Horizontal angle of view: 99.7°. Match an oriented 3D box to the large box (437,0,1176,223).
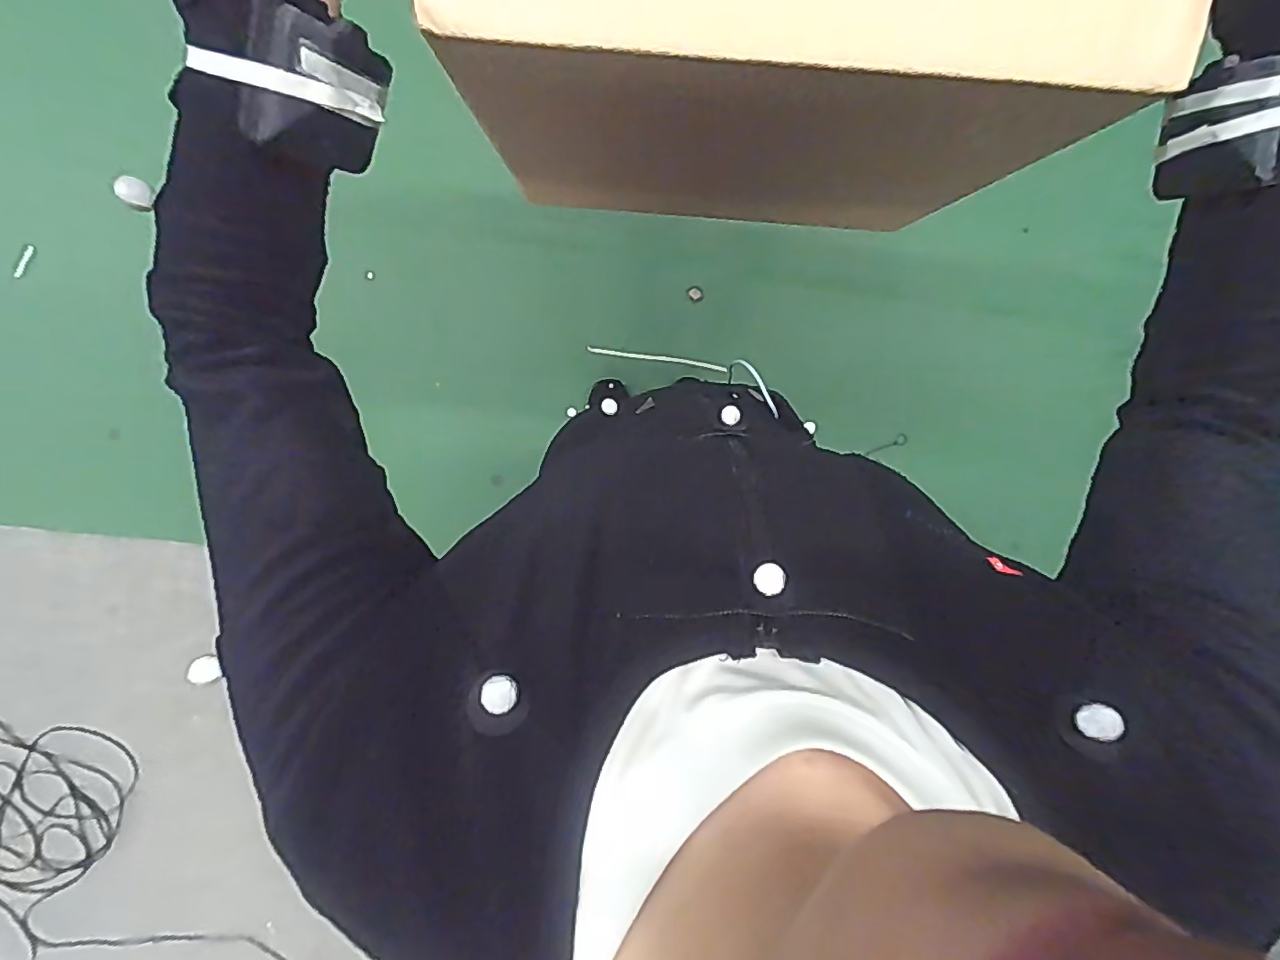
[{"bbox_3d":[0.091,-0.404,0.409,0.408,0.320,0.320,3,102,-2],"label":"large box"}]
